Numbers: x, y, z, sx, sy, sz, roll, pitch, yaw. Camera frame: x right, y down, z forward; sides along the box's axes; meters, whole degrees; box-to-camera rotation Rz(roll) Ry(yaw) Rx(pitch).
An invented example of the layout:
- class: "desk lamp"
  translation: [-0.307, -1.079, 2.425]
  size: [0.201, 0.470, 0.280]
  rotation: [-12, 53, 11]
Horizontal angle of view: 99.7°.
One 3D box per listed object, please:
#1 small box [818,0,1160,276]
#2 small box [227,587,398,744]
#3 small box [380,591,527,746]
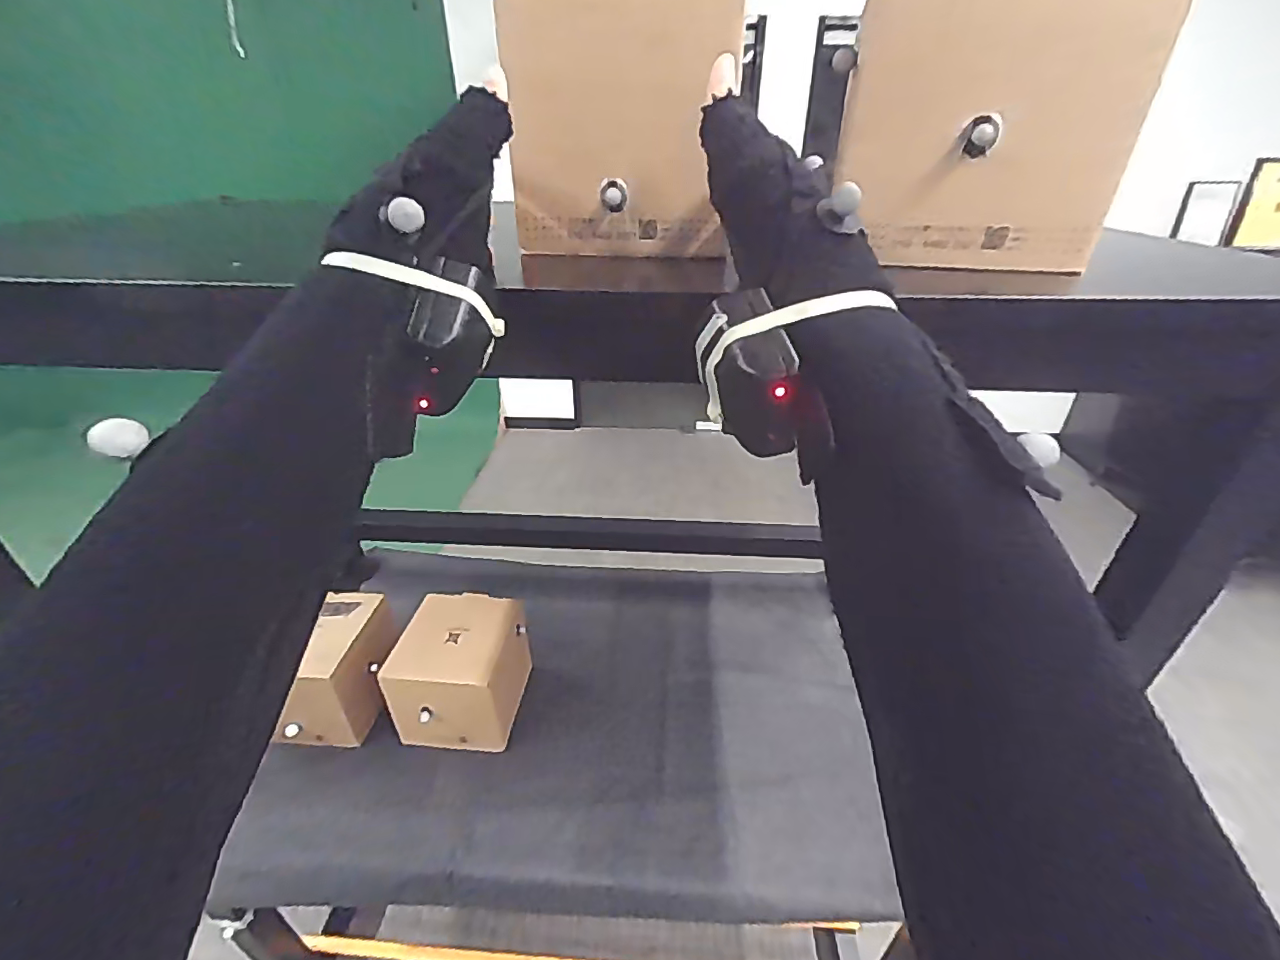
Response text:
- class: "small box"
  translation: [0.238, -0.262, 0.420]
  size: [0.168, 0.176, 0.179]
  rotation: [8, 32, 13]
- class: "small box"
  translation: [-0.517, 0.301, 0.893]
  size: [0.168, 0.176, 0.179]
  rotation: [2, 32, 3]
- class: "small box"
  translation: [-0.290, 0.308, 0.889]
  size: [0.168, 0.176, 0.179]
  rotation: [3, 31, 4]
